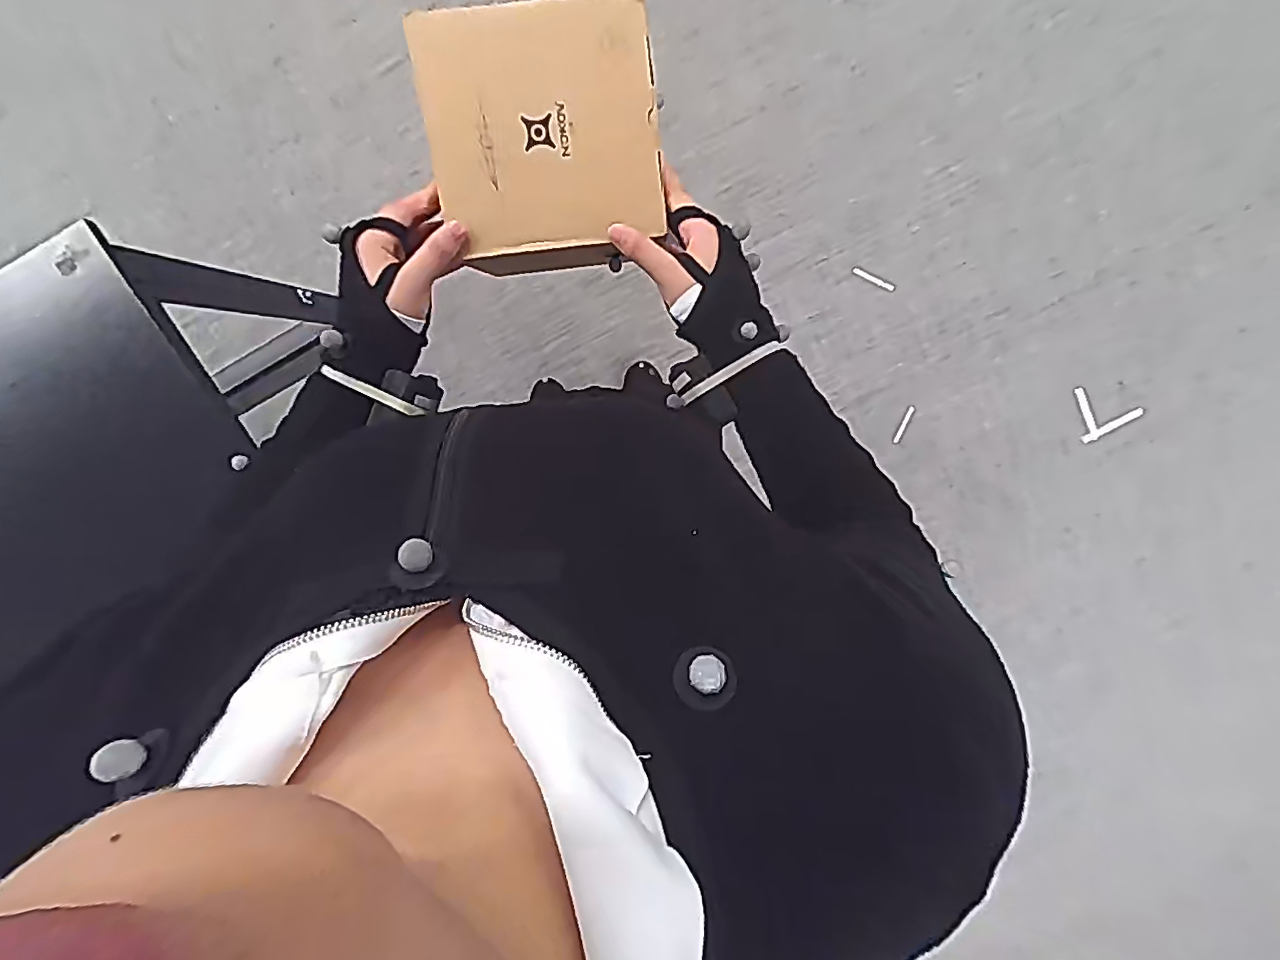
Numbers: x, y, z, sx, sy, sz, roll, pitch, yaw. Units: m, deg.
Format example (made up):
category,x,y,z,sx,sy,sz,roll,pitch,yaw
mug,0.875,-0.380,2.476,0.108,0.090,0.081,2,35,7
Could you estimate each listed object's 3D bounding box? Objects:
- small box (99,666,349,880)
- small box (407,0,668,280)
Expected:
category,x,y,z,sx,sy,sz,roll,pitch,yaw
small box,-0.551,0.385,0.745,0.168,0.176,0.179,-25,101,5
small box,-0.076,-0.281,0.485,0.179,0.176,0.168,-8,105,0
